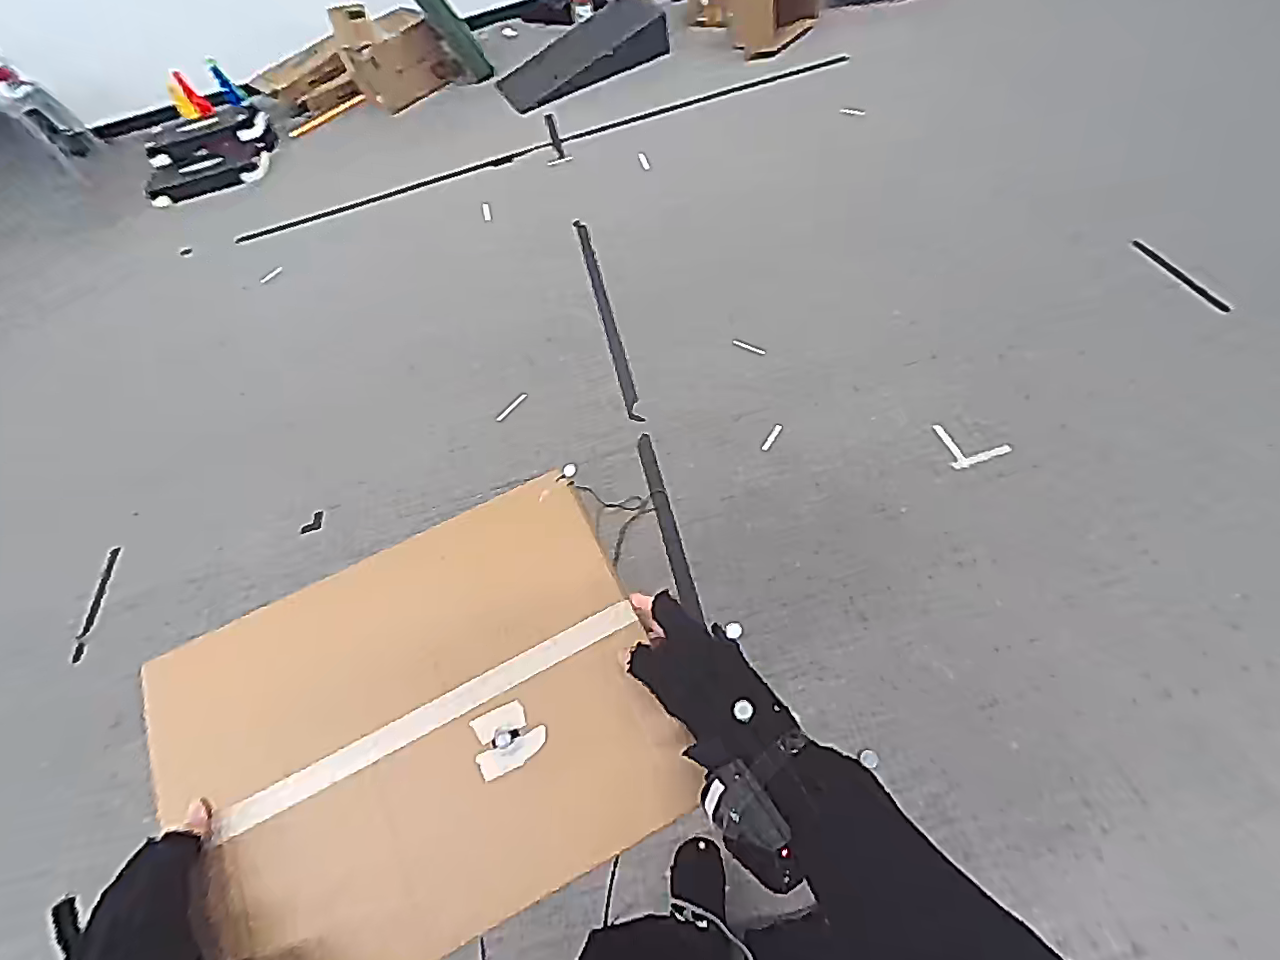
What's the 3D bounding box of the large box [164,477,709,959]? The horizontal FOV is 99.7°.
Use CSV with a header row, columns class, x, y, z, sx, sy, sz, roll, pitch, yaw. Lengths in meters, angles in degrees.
class,x,y,z,sx,sy,sz,roll,pitch,yaw
large box,-0.182,0.267,0.598,0.408,0.320,0.320,-27,69,-10
